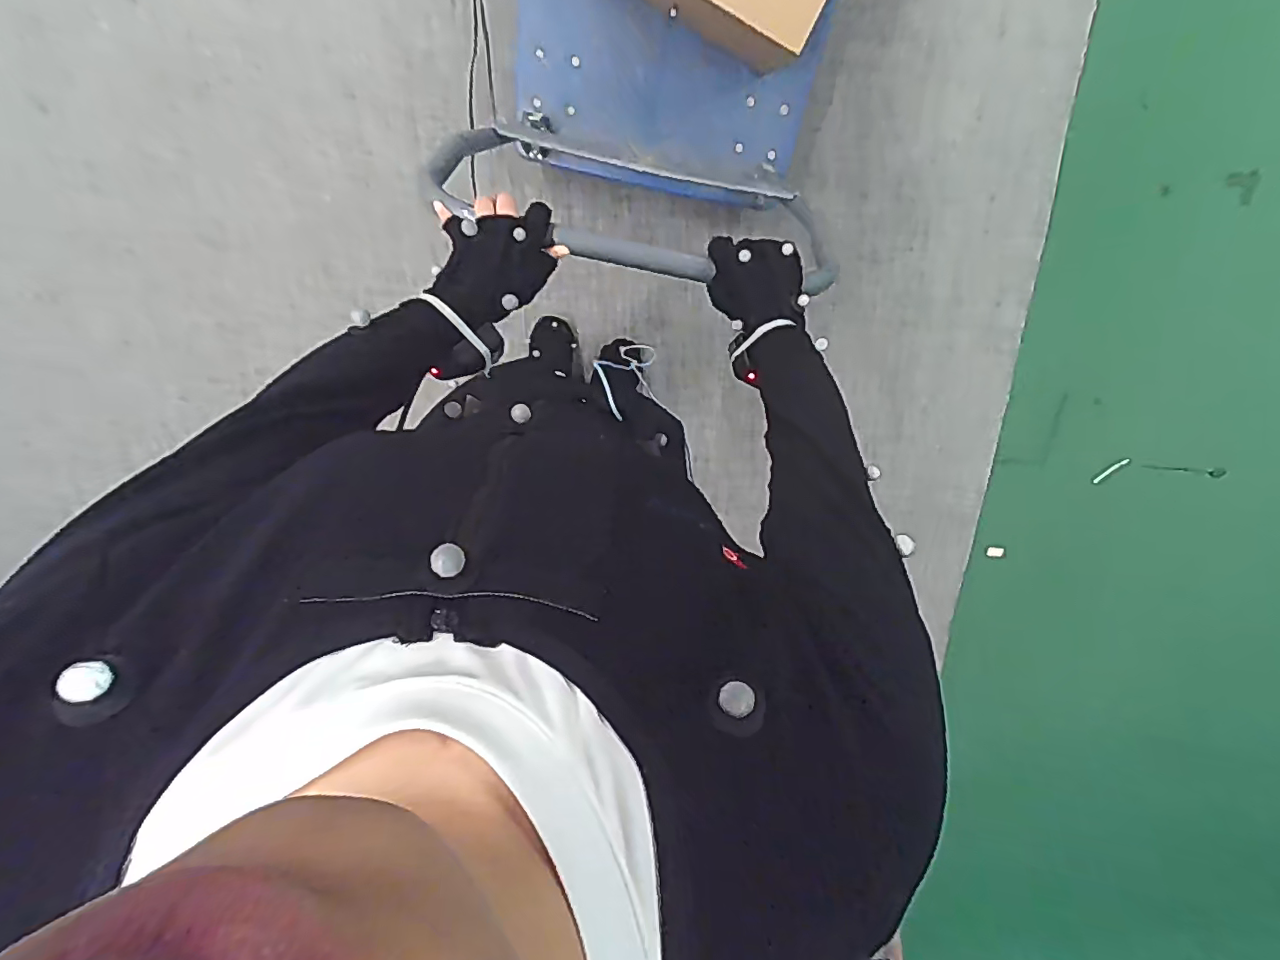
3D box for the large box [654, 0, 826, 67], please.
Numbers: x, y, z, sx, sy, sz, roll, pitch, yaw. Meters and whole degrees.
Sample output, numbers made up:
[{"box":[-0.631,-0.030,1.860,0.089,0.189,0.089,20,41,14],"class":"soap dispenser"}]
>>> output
[{"box":[0.128,-0.897,0.809,0.408,0.320,0.320,23,121,-11],"class":"large box"}]
